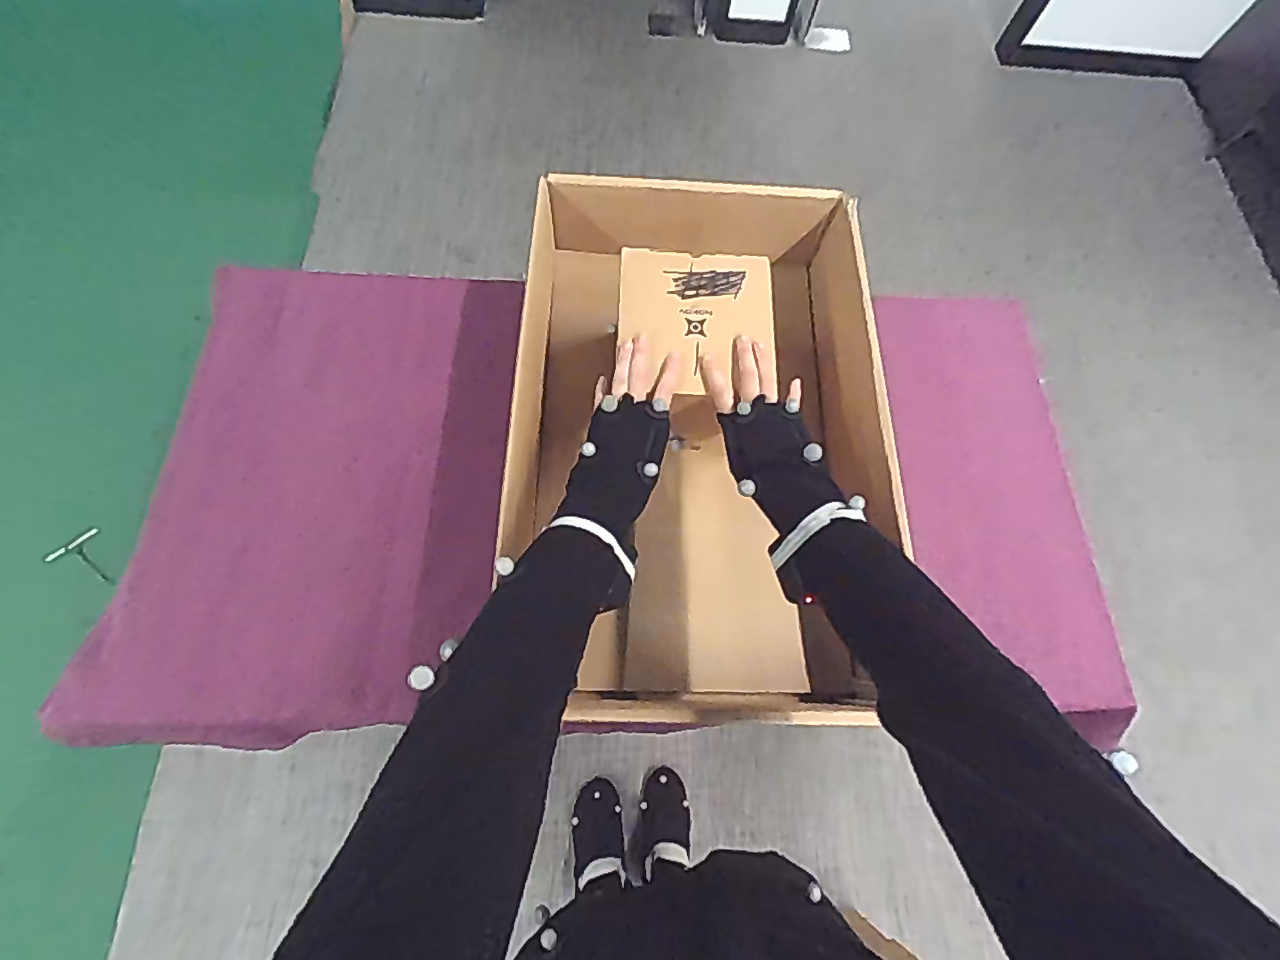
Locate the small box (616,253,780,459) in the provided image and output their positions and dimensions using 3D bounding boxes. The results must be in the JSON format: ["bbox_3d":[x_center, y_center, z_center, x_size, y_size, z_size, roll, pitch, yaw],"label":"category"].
[{"bbox_3d":[0.058,-0.138,0.644,0.168,0.176,0.179,2,73,-3],"label":"small box"}]

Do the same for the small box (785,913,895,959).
[{"bbox_3d":[0.403,1.005,1.081,0.179,0.176,0.168,-3,70,-6],"label":"small box"}]
